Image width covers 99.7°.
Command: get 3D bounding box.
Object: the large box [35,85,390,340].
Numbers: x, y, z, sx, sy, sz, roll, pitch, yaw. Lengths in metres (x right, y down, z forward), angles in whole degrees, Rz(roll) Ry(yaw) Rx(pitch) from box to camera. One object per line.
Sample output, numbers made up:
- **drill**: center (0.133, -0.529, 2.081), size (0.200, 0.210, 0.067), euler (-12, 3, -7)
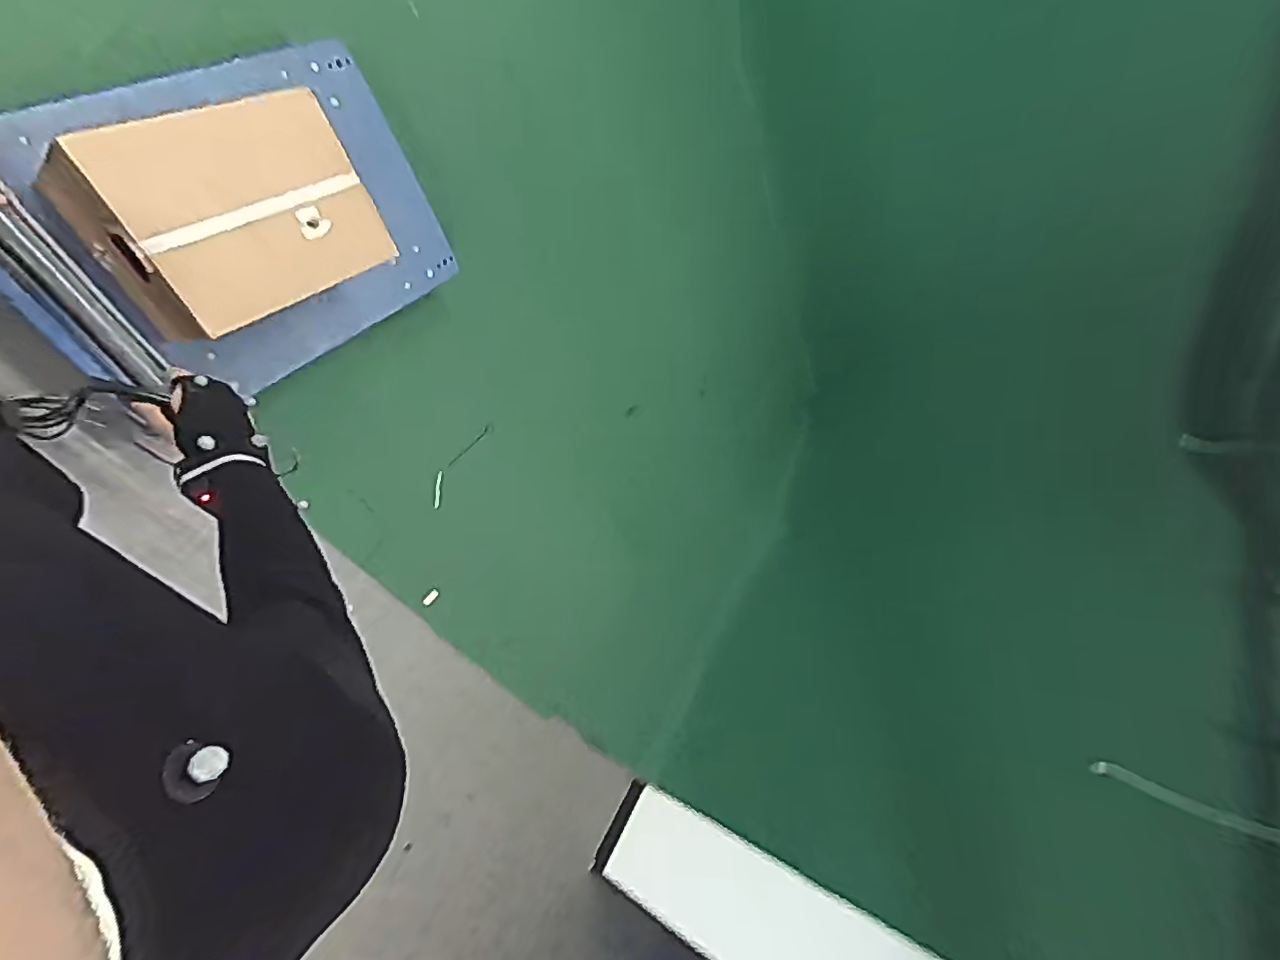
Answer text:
- **large box**: center (-0.802, -0.506, 1.054), size (0.408, 0.320, 0.320), euler (-48, 133, -36)
